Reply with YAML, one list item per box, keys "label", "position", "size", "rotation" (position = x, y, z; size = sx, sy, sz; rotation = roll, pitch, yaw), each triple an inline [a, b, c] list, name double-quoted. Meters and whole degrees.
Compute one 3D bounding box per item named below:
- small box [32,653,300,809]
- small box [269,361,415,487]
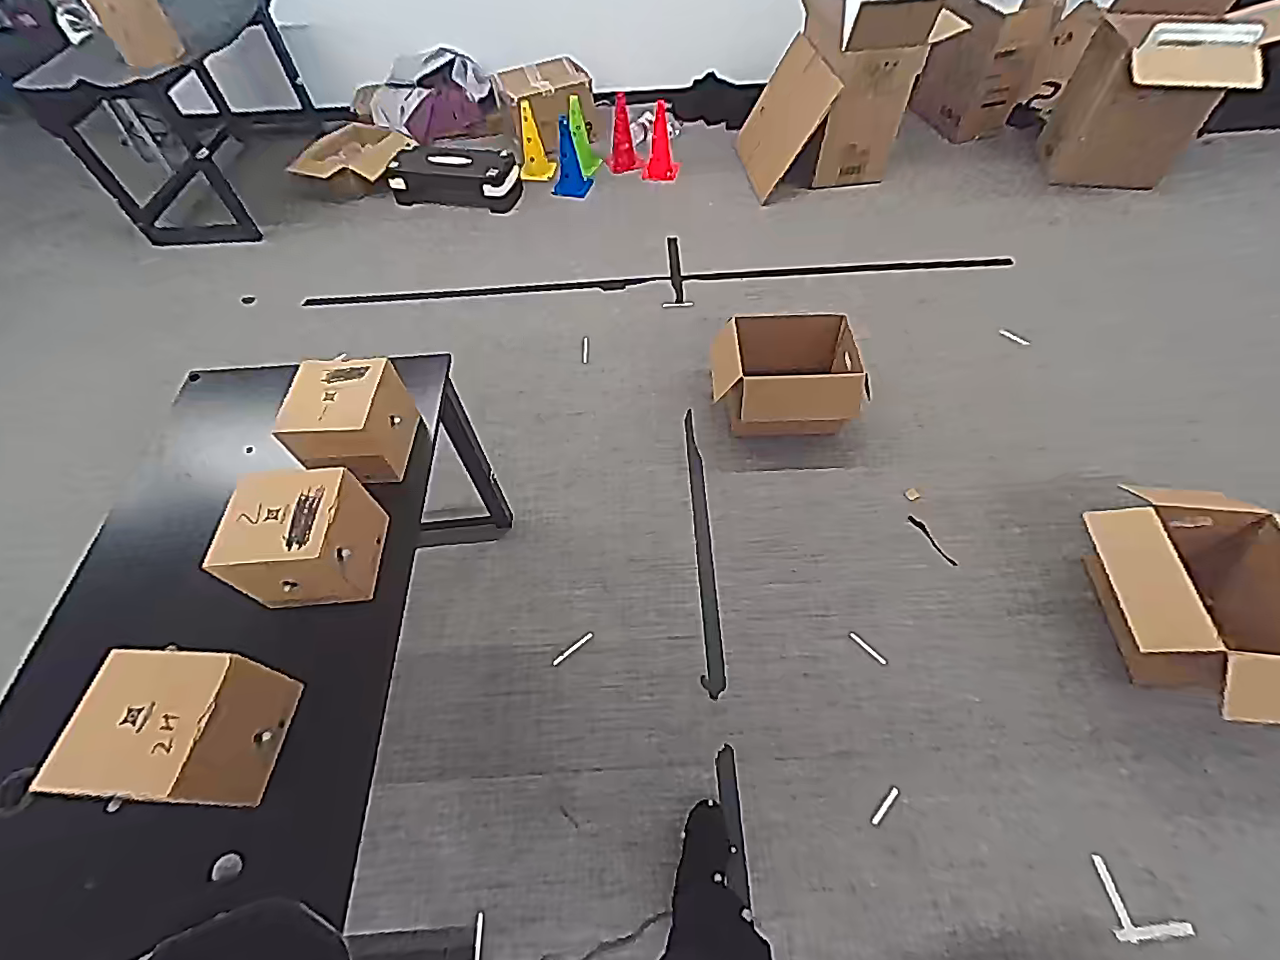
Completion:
- label: "small box"
  position: [-0.616, 0.344, 0.733]
  size: [0.179, 0.176, 0.168]
  rotation: [1, 56, 3]
- label: "small box"
  position: [-0.552, -0.105, 1.033]
  size: [0.168, 0.176, 0.179]
  rotation: [-3, 57, 2]
